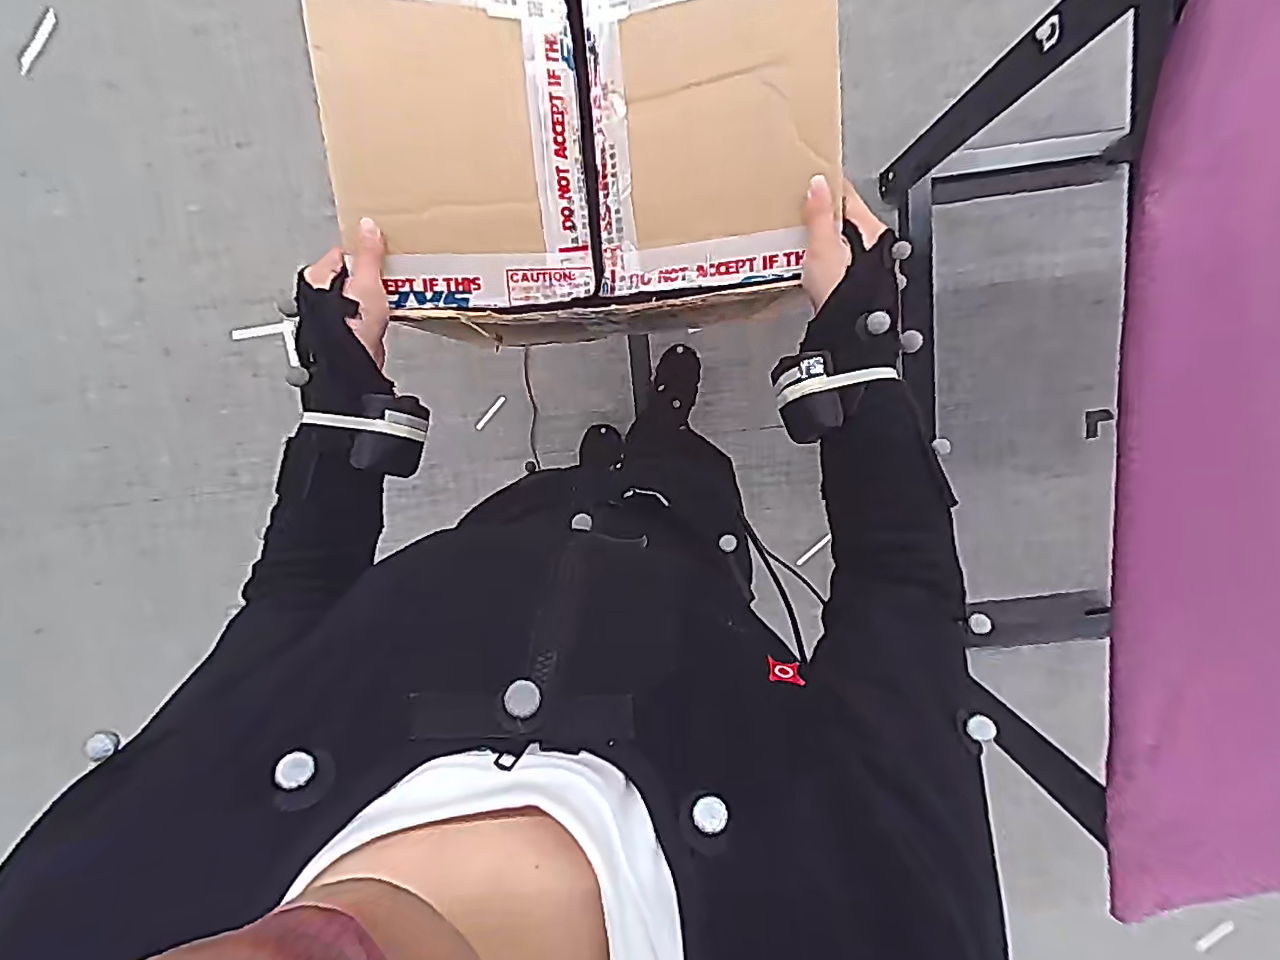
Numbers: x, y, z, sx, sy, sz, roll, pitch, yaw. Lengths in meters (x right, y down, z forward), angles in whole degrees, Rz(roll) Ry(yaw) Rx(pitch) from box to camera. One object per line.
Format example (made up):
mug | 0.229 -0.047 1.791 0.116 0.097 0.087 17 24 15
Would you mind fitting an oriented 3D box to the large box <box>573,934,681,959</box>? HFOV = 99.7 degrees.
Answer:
large box | -0.019 1.546 1.447 0.320 0.320 0.408 -7 97 1
